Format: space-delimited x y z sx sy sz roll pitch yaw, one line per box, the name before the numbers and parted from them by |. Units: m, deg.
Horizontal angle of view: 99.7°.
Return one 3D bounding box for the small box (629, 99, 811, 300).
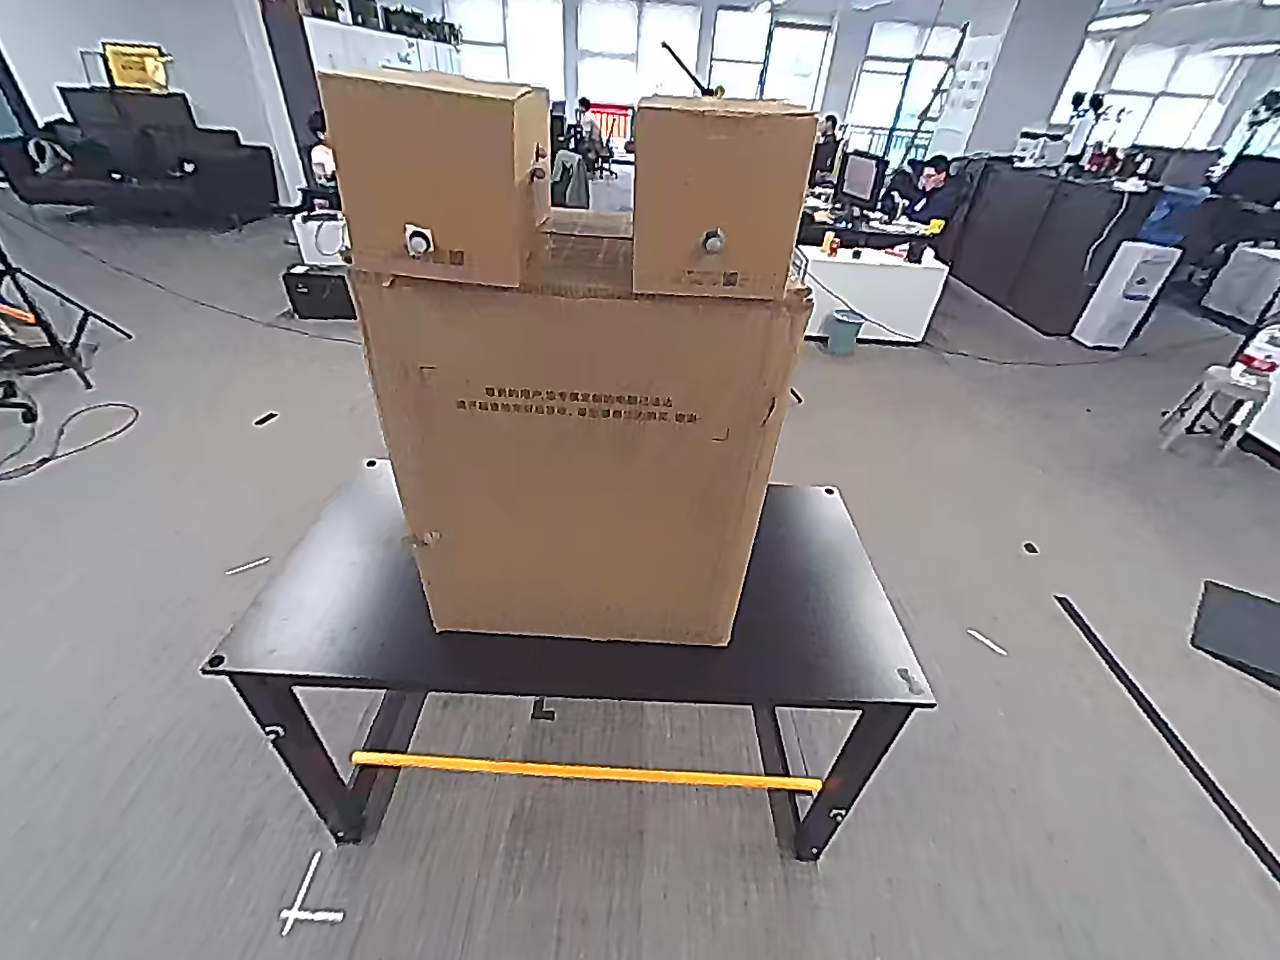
small box | 0.074 -0.315 0.603 0.168 0.176 0.179 2 38 1
